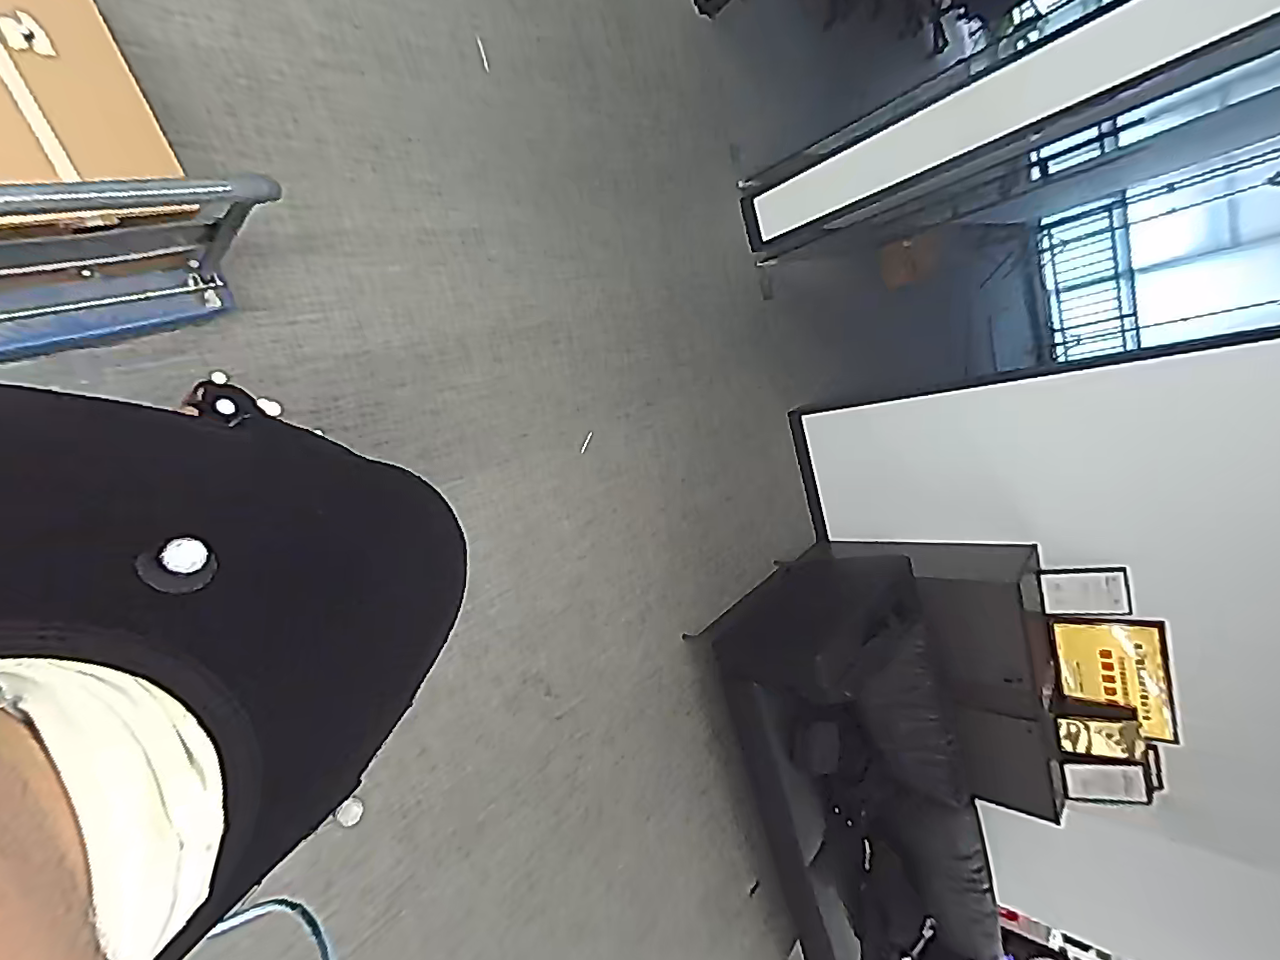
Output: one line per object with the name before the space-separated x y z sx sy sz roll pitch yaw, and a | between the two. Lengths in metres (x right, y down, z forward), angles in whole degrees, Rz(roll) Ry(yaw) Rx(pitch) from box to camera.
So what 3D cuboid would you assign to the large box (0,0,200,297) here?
large box | -1.052 -0.585 0.929 0.320 0.320 0.408 -34 109 -40
